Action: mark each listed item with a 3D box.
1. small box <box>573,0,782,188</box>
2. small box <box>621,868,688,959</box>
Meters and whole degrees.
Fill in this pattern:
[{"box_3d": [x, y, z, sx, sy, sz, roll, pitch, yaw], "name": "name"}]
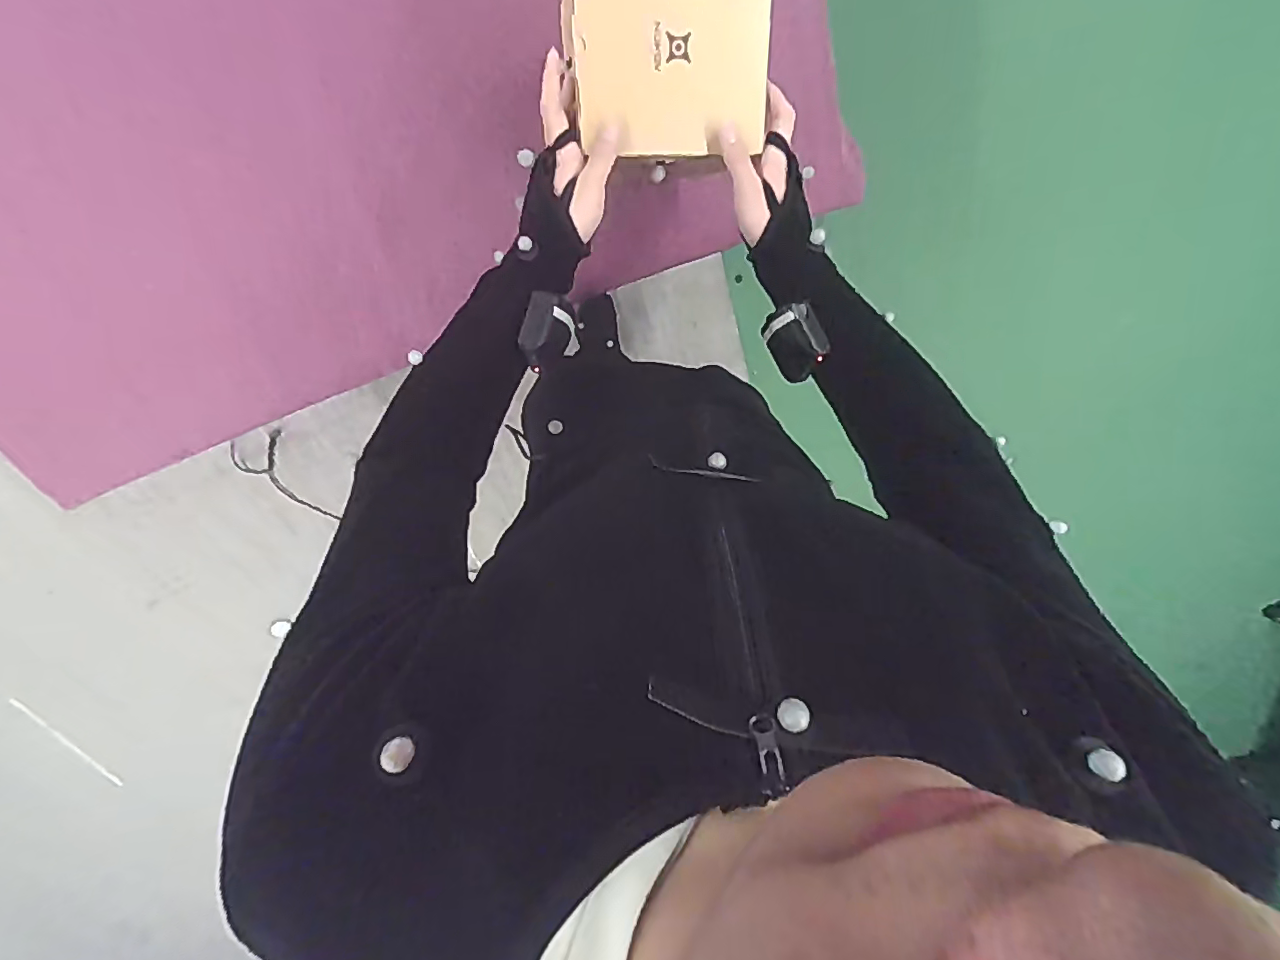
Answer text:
[{"box_3d": [0.026, -0.399, 0.548, 0.179, 0.176, 0.168, -4, 113, -7], "name": "small box"}, {"box_3d": [0.042, 1.436, 1.790, 0.179, 0.176, 0.168, -19, 117, -1], "name": "small box"}]
